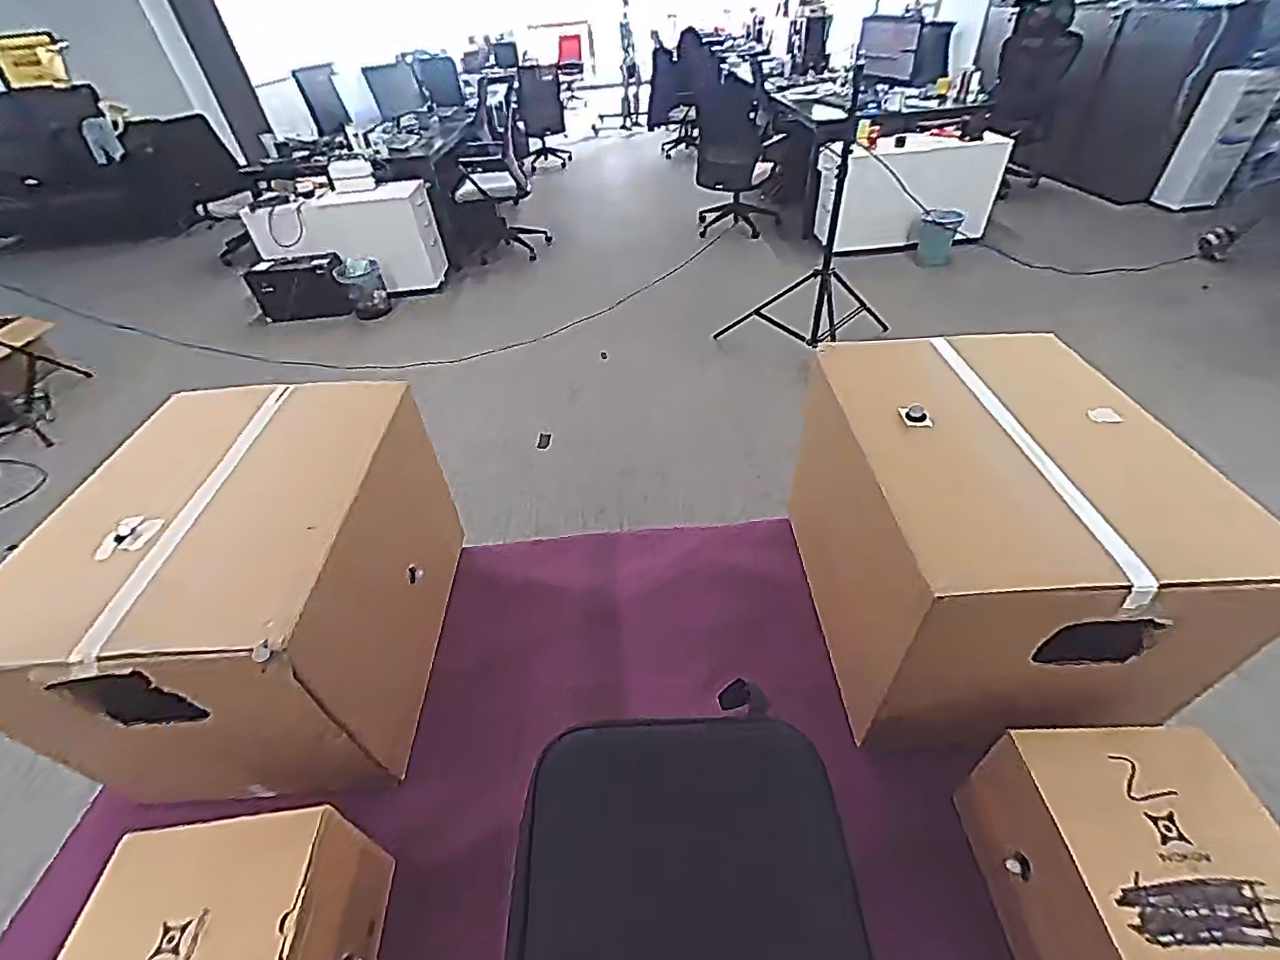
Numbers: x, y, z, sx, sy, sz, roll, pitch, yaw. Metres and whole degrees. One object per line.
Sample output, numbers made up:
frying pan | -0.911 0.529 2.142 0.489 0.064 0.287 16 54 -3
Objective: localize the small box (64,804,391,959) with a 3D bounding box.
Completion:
small box | -0.347 0.412 0.467 0.179 0.176 0.168 -7 40 -4

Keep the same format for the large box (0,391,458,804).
large box | -0.446 0.132 0.685 0.320 0.320 0.408 -5 44 -1
